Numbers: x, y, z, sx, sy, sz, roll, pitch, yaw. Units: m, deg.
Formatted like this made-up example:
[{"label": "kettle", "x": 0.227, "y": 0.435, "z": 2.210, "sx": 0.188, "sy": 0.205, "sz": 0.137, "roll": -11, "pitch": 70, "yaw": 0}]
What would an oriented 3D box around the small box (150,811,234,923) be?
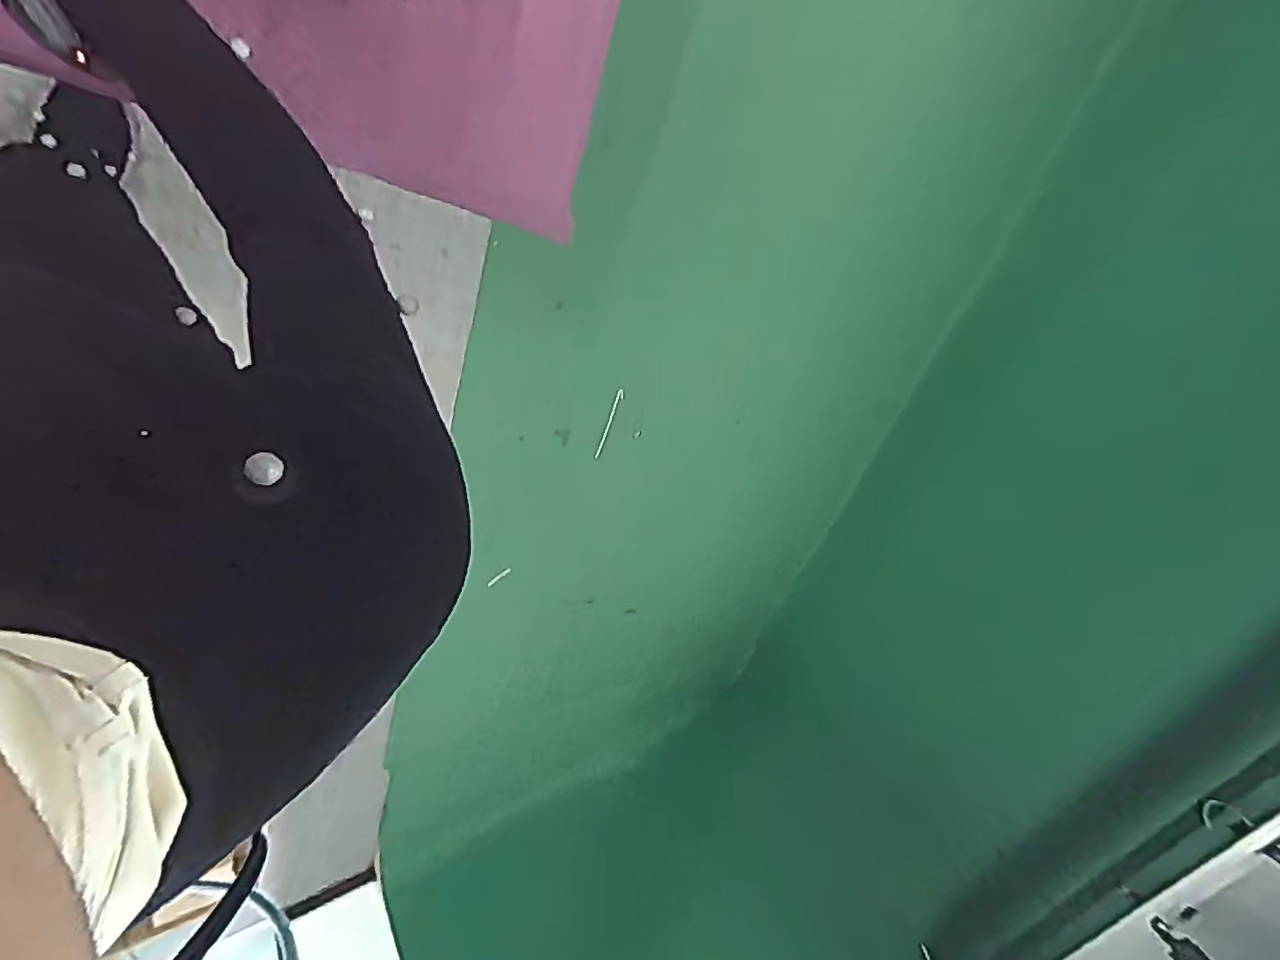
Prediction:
[{"label": "small box", "x": -1.264, "y": 1.083, "z": 1.528, "sx": 0.179, "sy": 0.176, "sz": 0.168, "roll": -2, "pitch": 124, "yaw": -39}]
